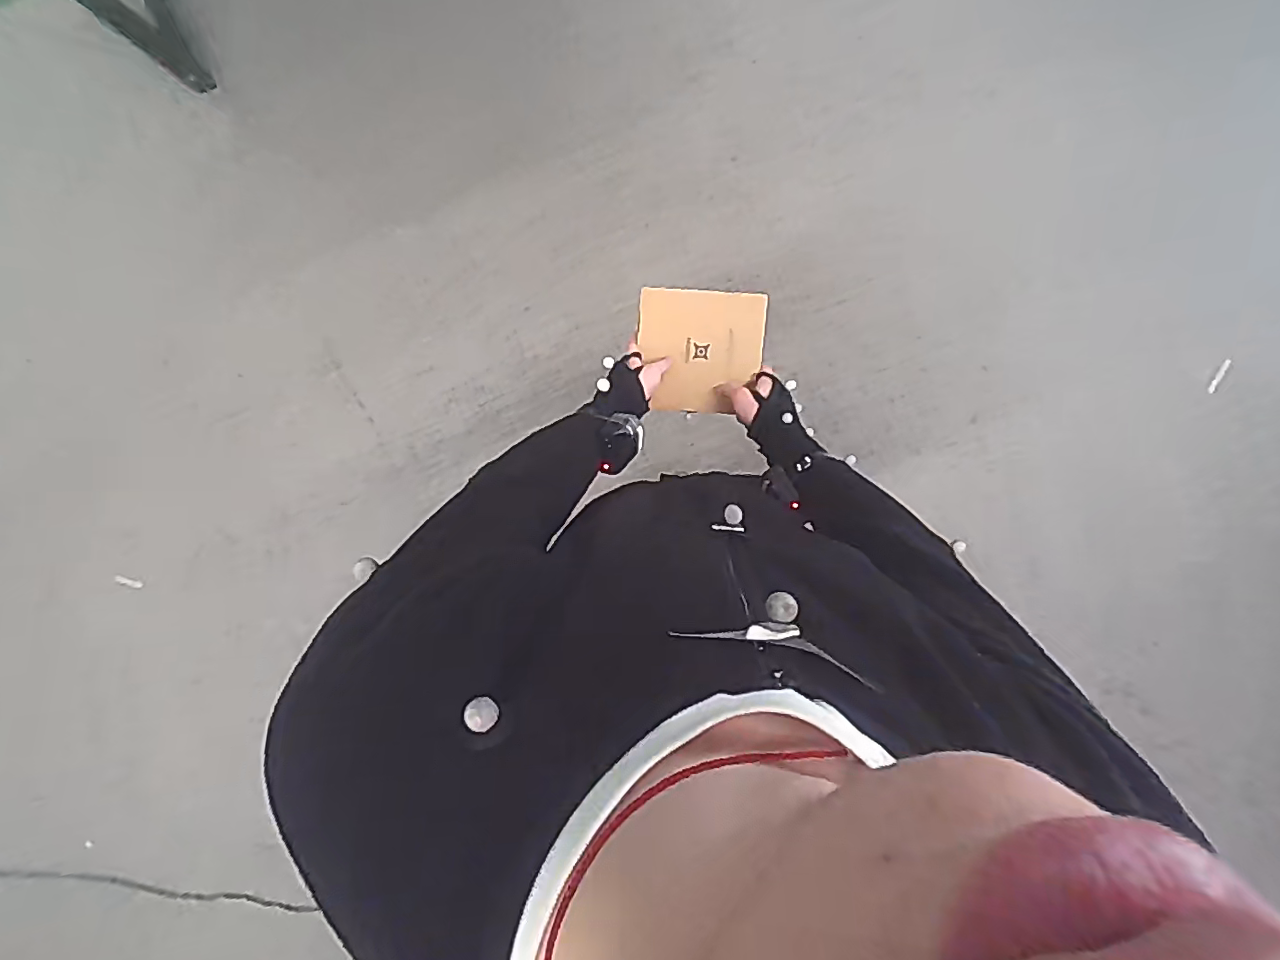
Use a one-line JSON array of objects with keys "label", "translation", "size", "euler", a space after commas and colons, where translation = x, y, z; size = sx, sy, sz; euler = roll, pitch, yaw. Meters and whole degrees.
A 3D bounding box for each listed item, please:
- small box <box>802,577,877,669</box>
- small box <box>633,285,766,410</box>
[{"label": "small box", "translation": [0.557, 0.383, 1.478], "size": [0.179, 0.176, 0.168], "euler": [-21, 93, 4]}, {"label": "small box", "translation": [0.085, -0.194, 0.829], "size": [0.179, 0.176, 0.168], "euler": [3, 99, 2]}]
